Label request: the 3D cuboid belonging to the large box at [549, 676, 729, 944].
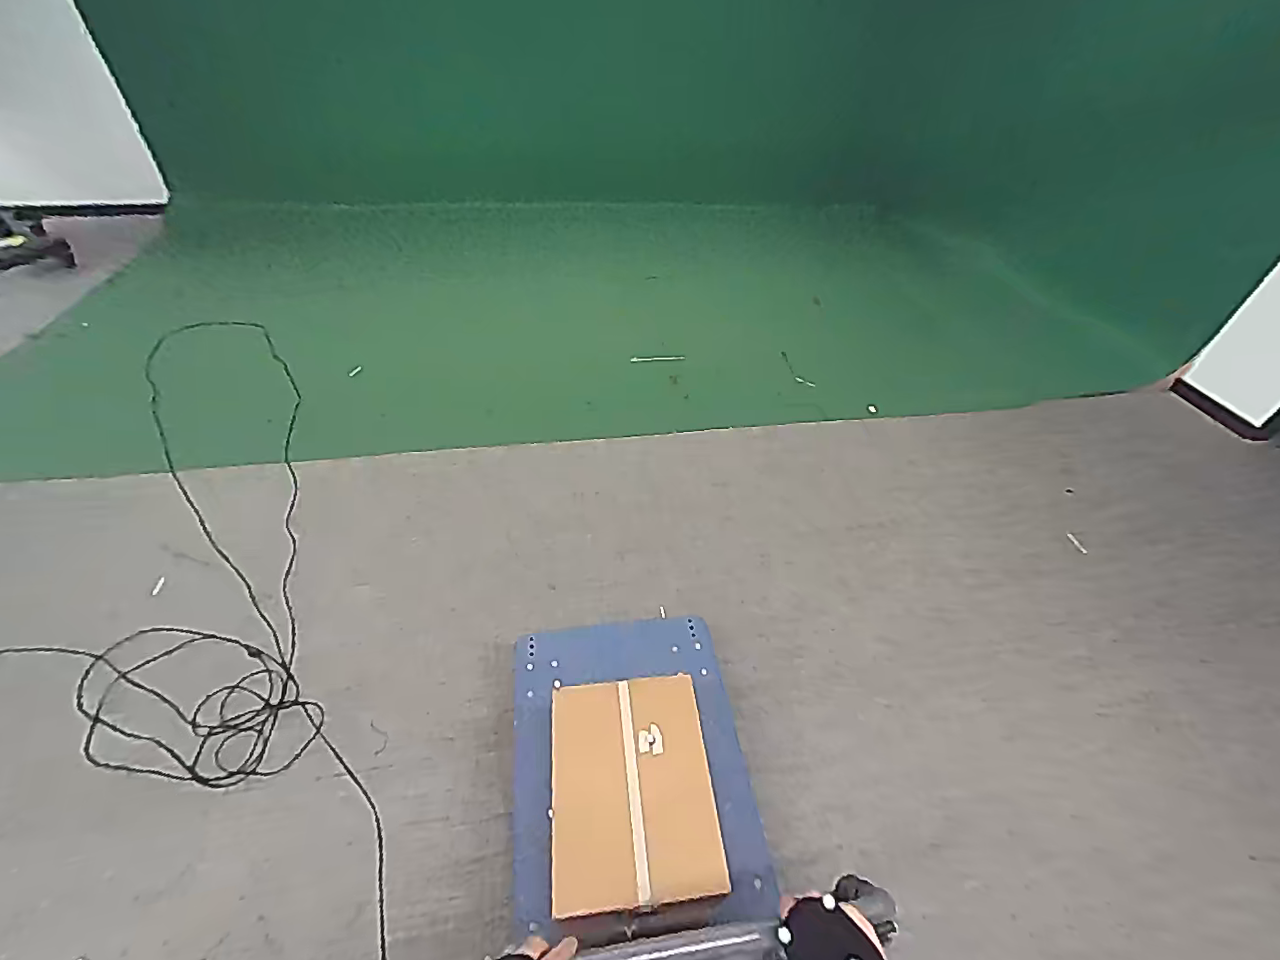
[{"bbox_3d":[-0.025,0.693,1.156,0.320,0.320,0.408,-3,44,-7],"label":"large box"}]
